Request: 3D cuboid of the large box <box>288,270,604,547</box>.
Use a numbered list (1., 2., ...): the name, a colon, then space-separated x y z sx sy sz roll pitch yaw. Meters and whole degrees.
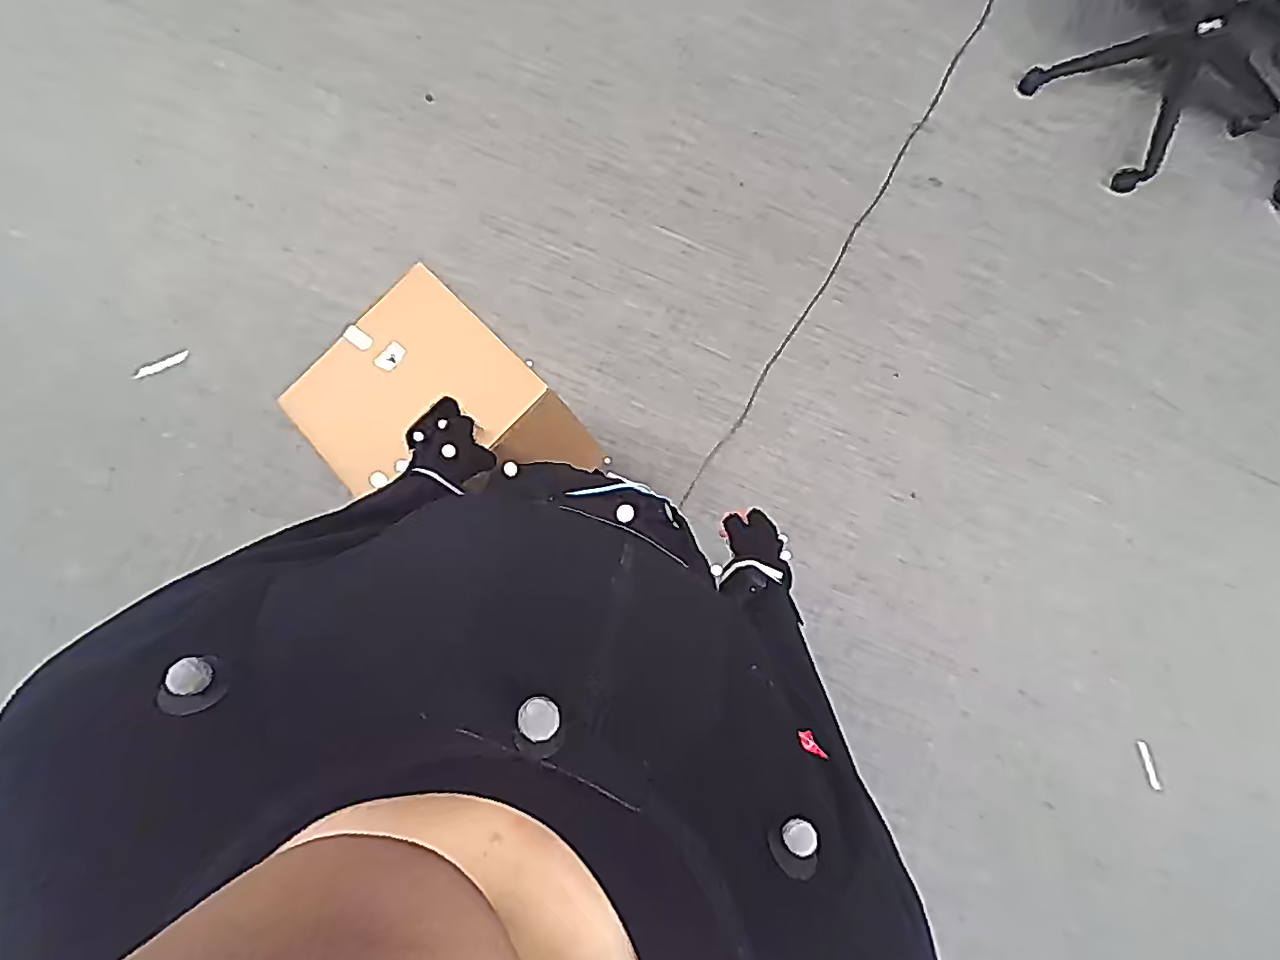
1. large box: -0.319 -0.097 1.001 0.320 0.408 0.320 -44 77 -1
